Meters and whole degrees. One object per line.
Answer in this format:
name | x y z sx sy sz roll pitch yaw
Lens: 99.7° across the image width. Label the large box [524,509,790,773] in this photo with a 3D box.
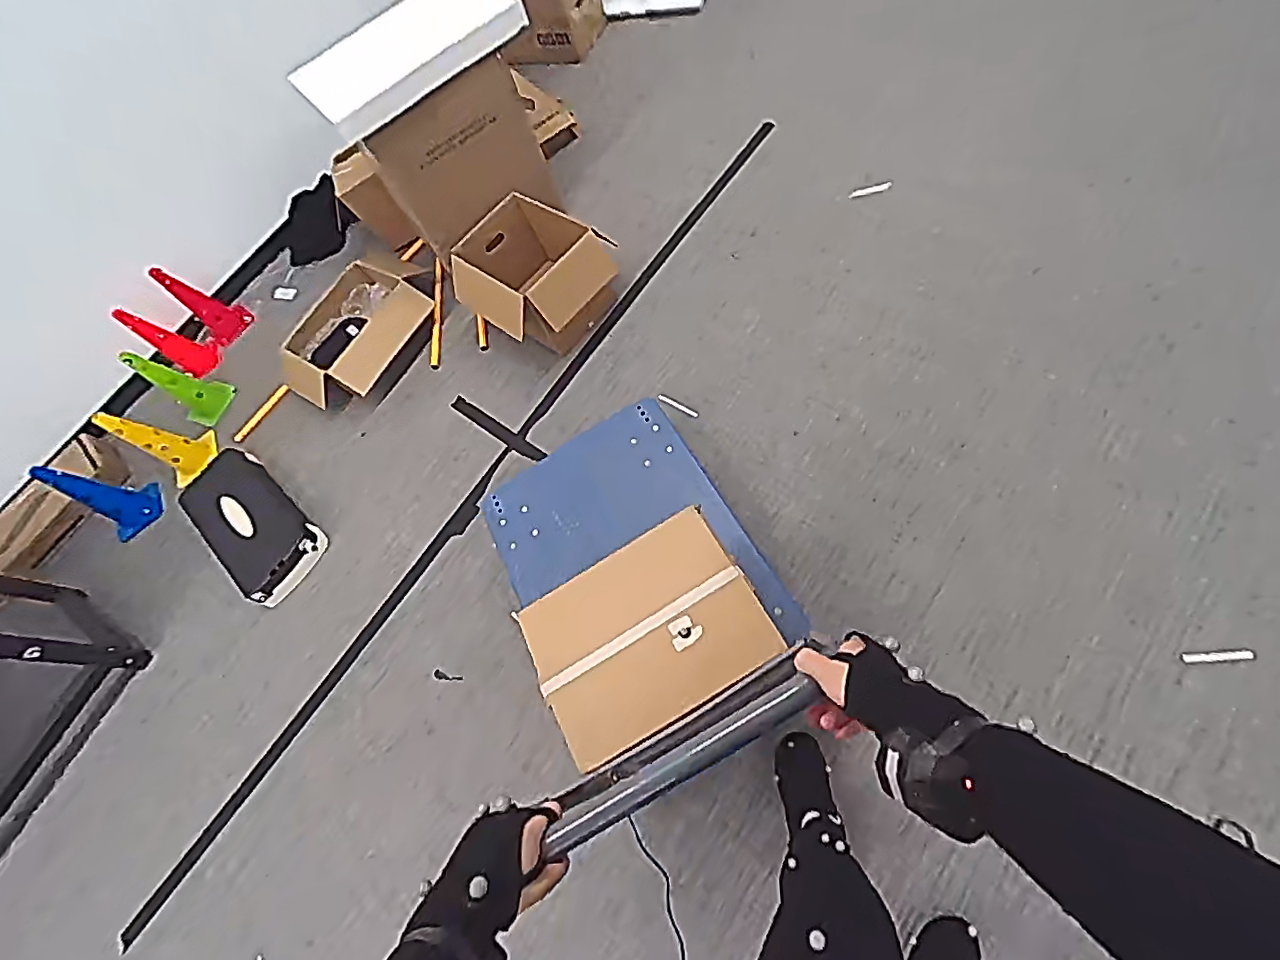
large box | 0.047 0.335 1.097 0.408 0.320 0.320 -32 61 0
